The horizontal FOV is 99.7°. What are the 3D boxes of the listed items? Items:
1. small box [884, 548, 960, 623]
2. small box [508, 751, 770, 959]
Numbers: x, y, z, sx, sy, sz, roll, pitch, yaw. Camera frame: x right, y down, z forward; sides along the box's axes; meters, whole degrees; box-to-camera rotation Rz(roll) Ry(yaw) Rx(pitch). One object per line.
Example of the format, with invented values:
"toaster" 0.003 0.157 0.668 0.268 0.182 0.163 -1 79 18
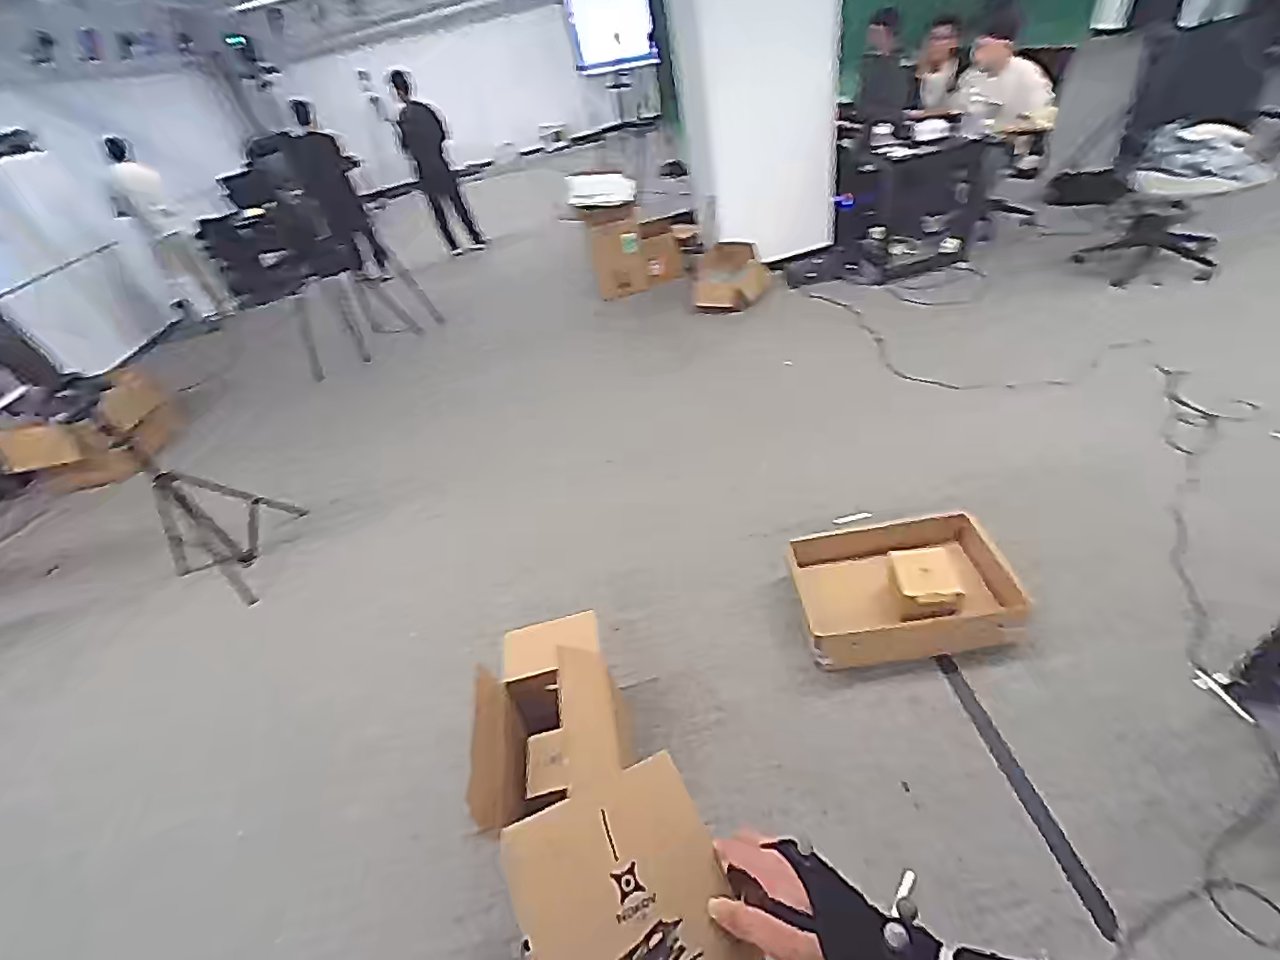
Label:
"small box" 0.875 0.336 1.693 0.168 0.176 0.179 -6 41 12
"small box" -0.016 0.388 0.495 0.168 0.176 0.179 -13 52 -25
